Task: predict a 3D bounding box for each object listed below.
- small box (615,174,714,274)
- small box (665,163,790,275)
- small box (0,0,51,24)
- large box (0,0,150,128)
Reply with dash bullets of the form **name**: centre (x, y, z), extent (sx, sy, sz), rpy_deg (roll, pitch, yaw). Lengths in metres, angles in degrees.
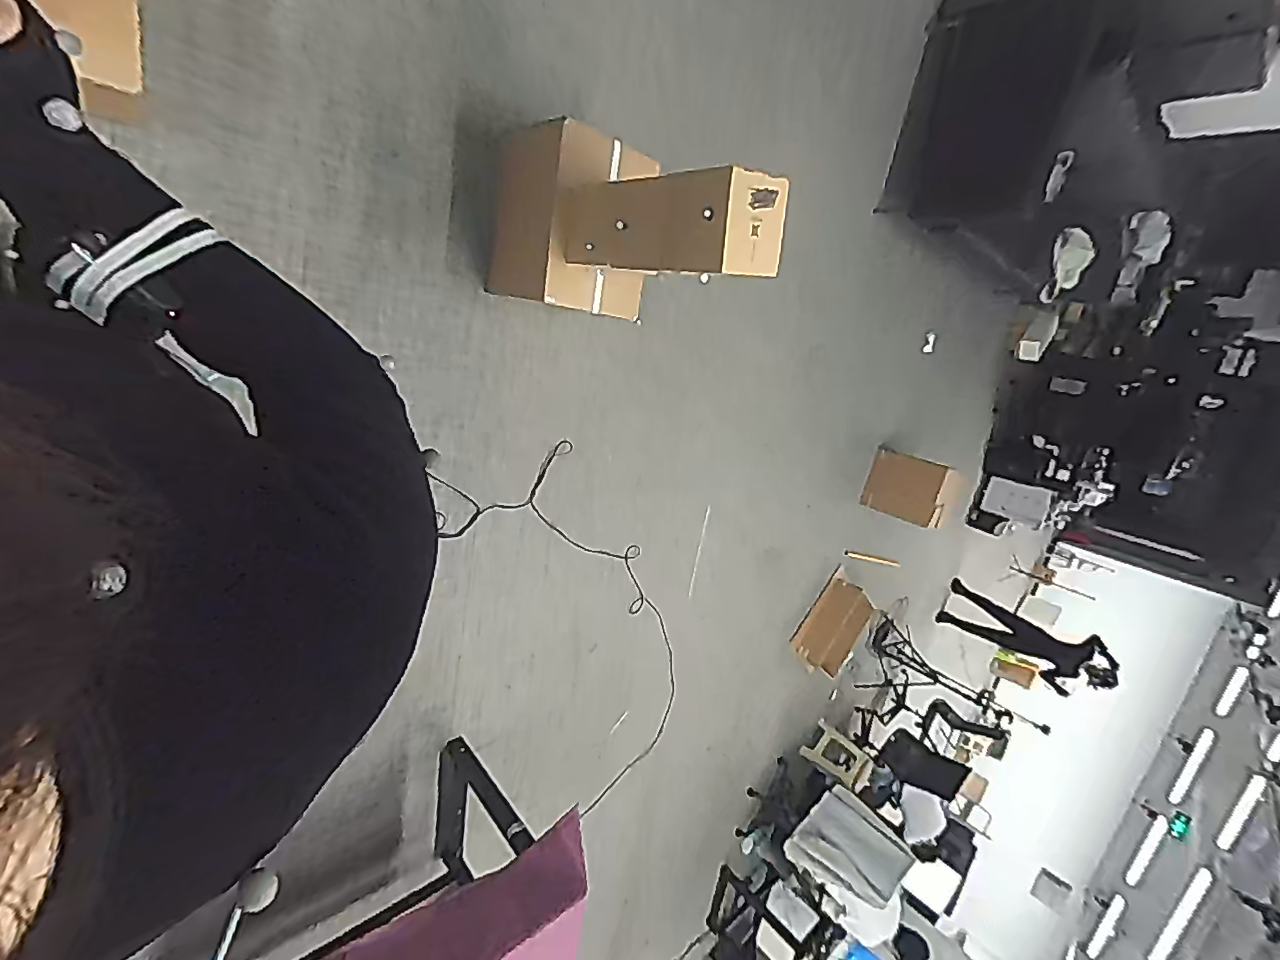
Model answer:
- **small box**: centre (0.059, -0.549, 1.173), extent (0.168, 0.176, 0.179), rpy_deg (-14, 118, -38)
- **small box**: centre (0.165, -0.499, 1.056), extent (0.168, 0.176, 0.179), rpy_deg (-14, 118, -37)
- **small box**: centre (-0.756, -0.656, 0.584), extent (0.168, 0.176, 0.179), rpy_deg (10, 101, -44)
- **large box**: centre (-0.902, -0.780, 0.744), extent (0.320, 0.320, 0.408), rpy_deg (-4, 110, -42)
